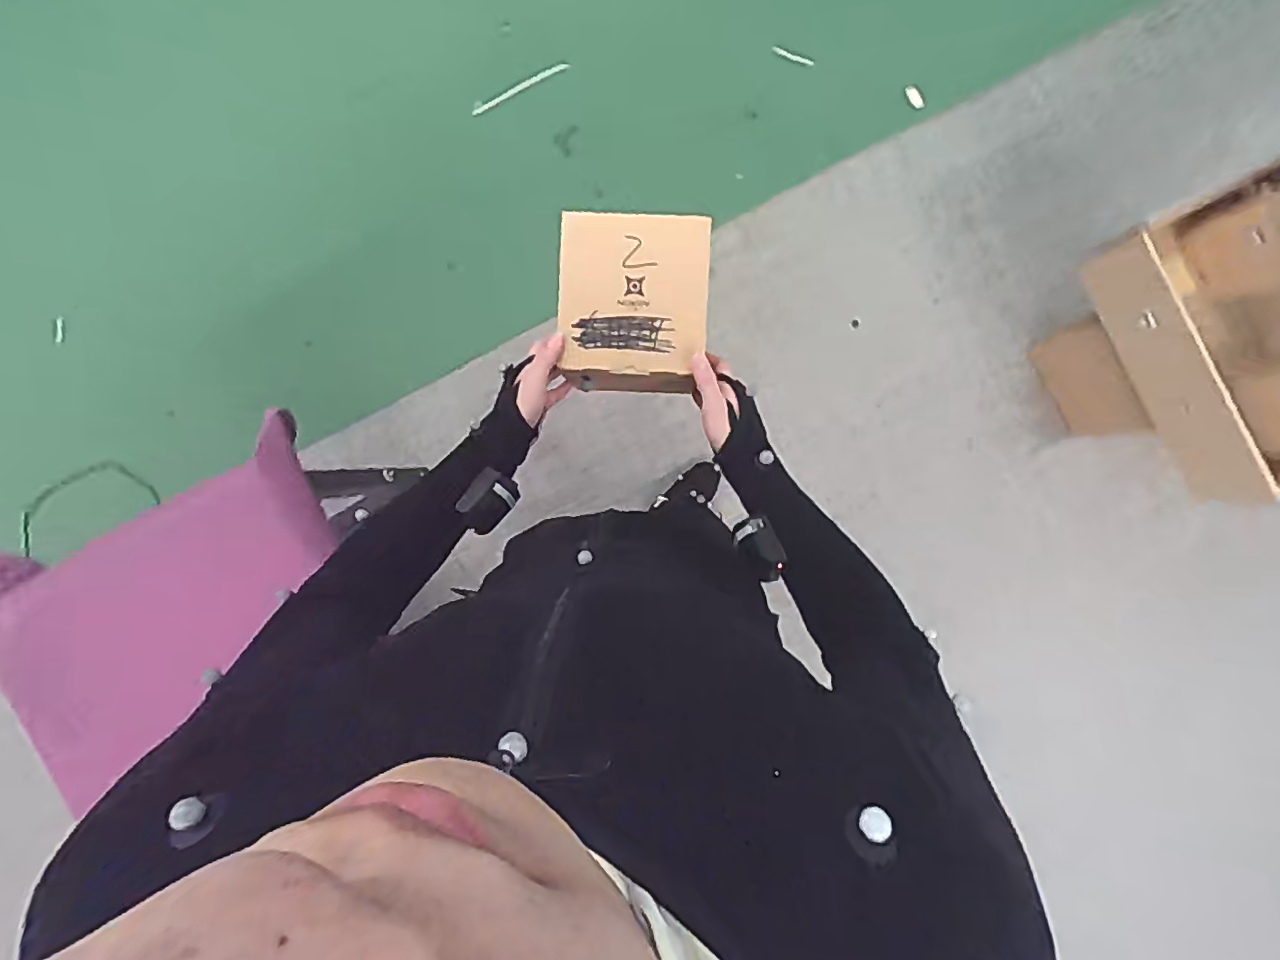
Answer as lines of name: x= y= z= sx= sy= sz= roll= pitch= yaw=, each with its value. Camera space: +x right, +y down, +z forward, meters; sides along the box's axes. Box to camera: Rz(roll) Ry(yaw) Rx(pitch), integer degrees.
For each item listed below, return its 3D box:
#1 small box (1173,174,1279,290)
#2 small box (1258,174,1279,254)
small box: x=1.260 y=-0.514 z=1.093 sx=0.179 sy=0.176 sz=0.168 roll=-26 pitch=91 yaw=2
small box: x=1.257 y=-0.508 z=0.929 sx=0.179 sy=0.176 sz=0.168 roll=-24 pitch=90 yaw=2
